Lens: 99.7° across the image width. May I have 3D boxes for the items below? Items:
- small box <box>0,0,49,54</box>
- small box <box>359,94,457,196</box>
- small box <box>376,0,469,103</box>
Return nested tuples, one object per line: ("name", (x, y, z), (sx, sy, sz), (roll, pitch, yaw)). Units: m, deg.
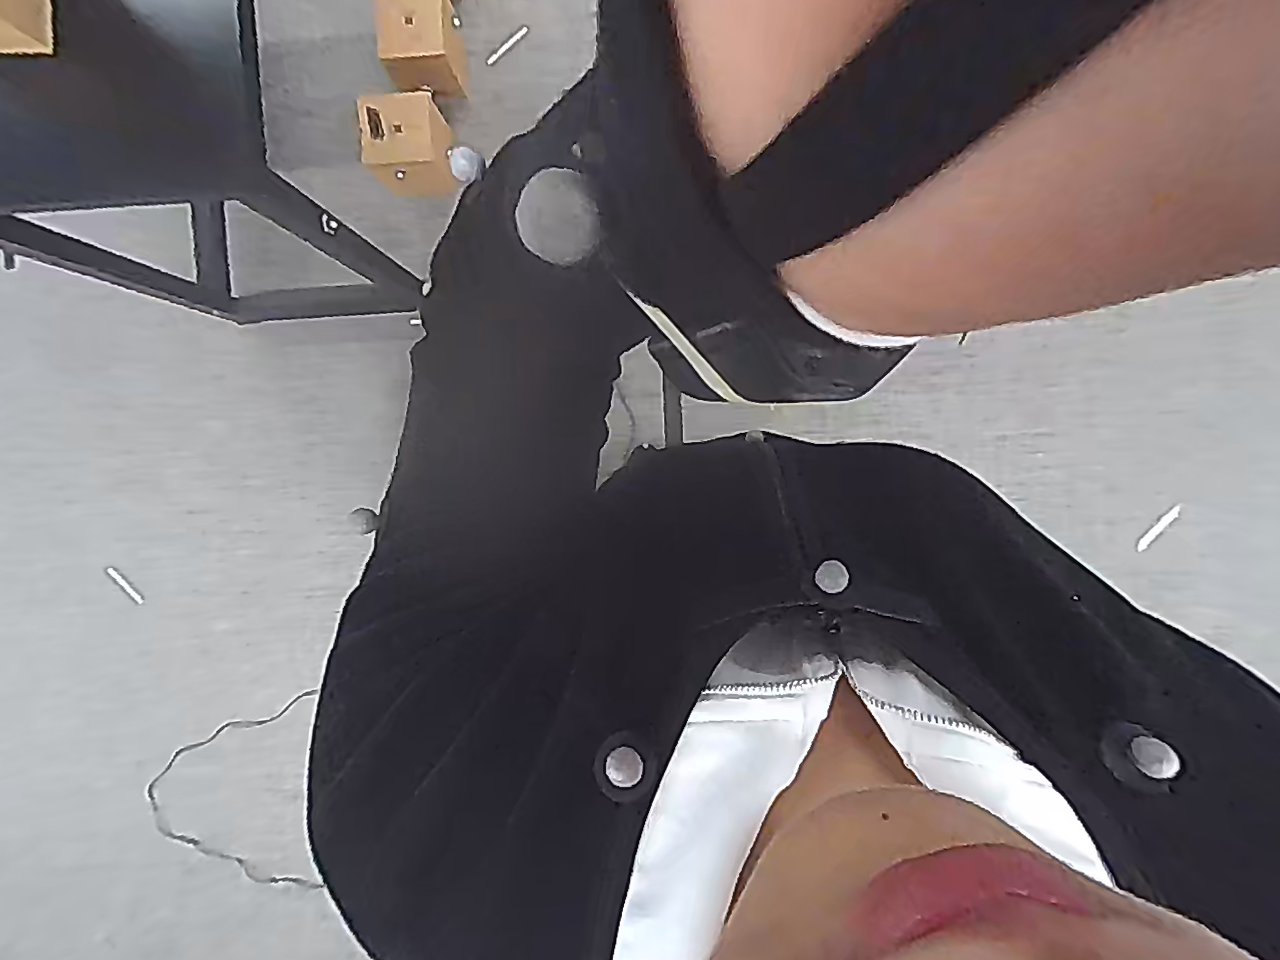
("small box", (-0.916, -0.683, 0.687), (0.179, 0.176, 0.168), (0, 92, 2))
("small box", (-0.593, -0.855, 1.397), (0.179, 0.176, 0.168), (-3, 93, 1))
("small box", (-0.551, -1.110, 1.384), (0.168, 0.176, 0.179), (-3, 93, 3))
